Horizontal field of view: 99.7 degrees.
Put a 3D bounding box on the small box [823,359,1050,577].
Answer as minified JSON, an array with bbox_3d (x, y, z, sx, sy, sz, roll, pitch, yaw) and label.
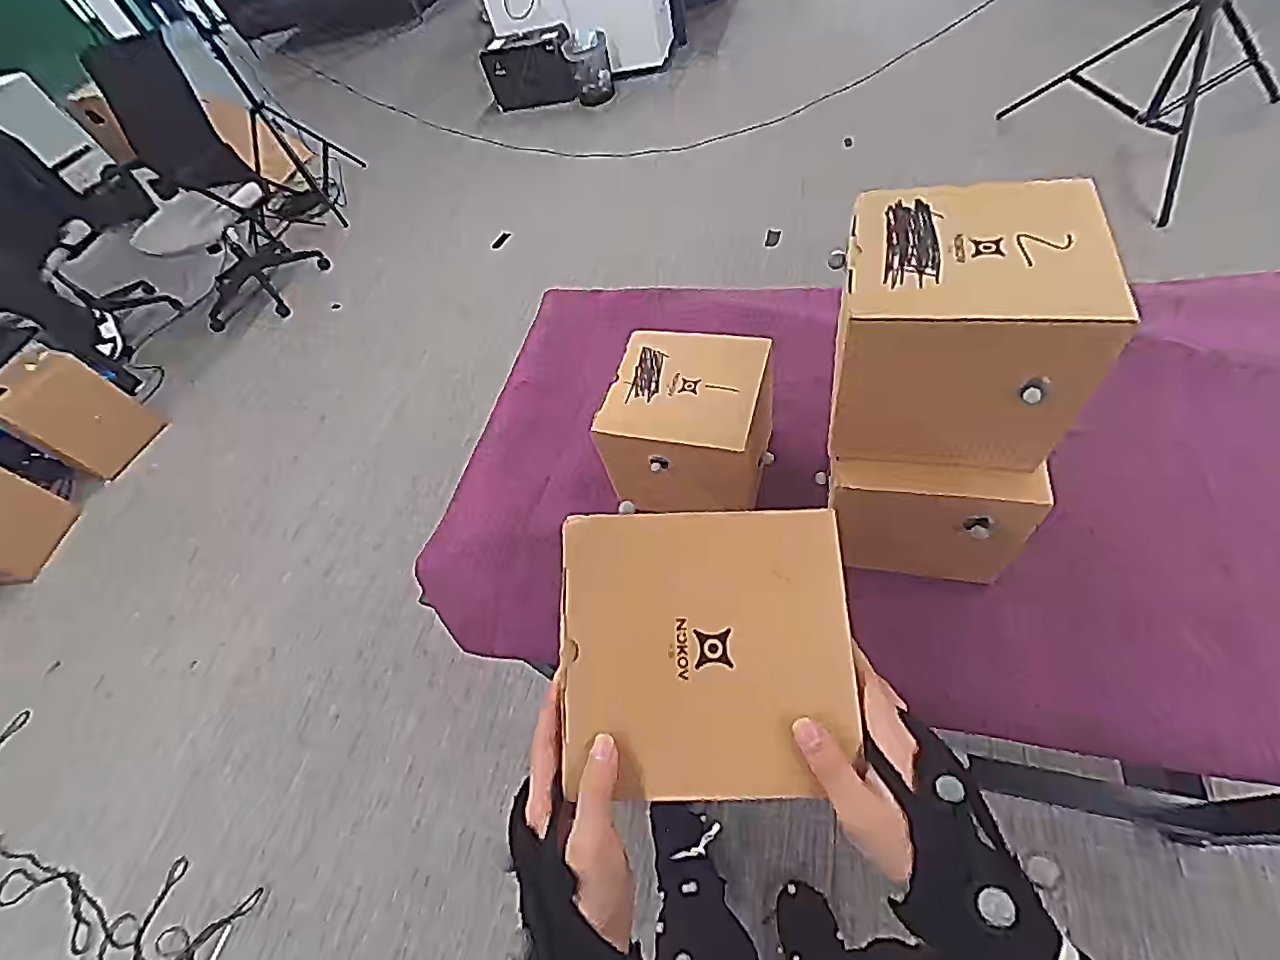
[{"bbox_3d":[0.298,-0.009,0.584,0.179,0.176,0.168,6,57,17],"label":"small box"}]

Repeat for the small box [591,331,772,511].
[{"bbox_3d":[0.063,-0.064,0.680,0.179,0.176,0.168,9,59,18],"label":"small box"}]

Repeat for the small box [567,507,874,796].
[{"bbox_3d":[0.046,0.118,0.401,0.179,0.176,0.168,-3,74,2],"label":"small box"}]
